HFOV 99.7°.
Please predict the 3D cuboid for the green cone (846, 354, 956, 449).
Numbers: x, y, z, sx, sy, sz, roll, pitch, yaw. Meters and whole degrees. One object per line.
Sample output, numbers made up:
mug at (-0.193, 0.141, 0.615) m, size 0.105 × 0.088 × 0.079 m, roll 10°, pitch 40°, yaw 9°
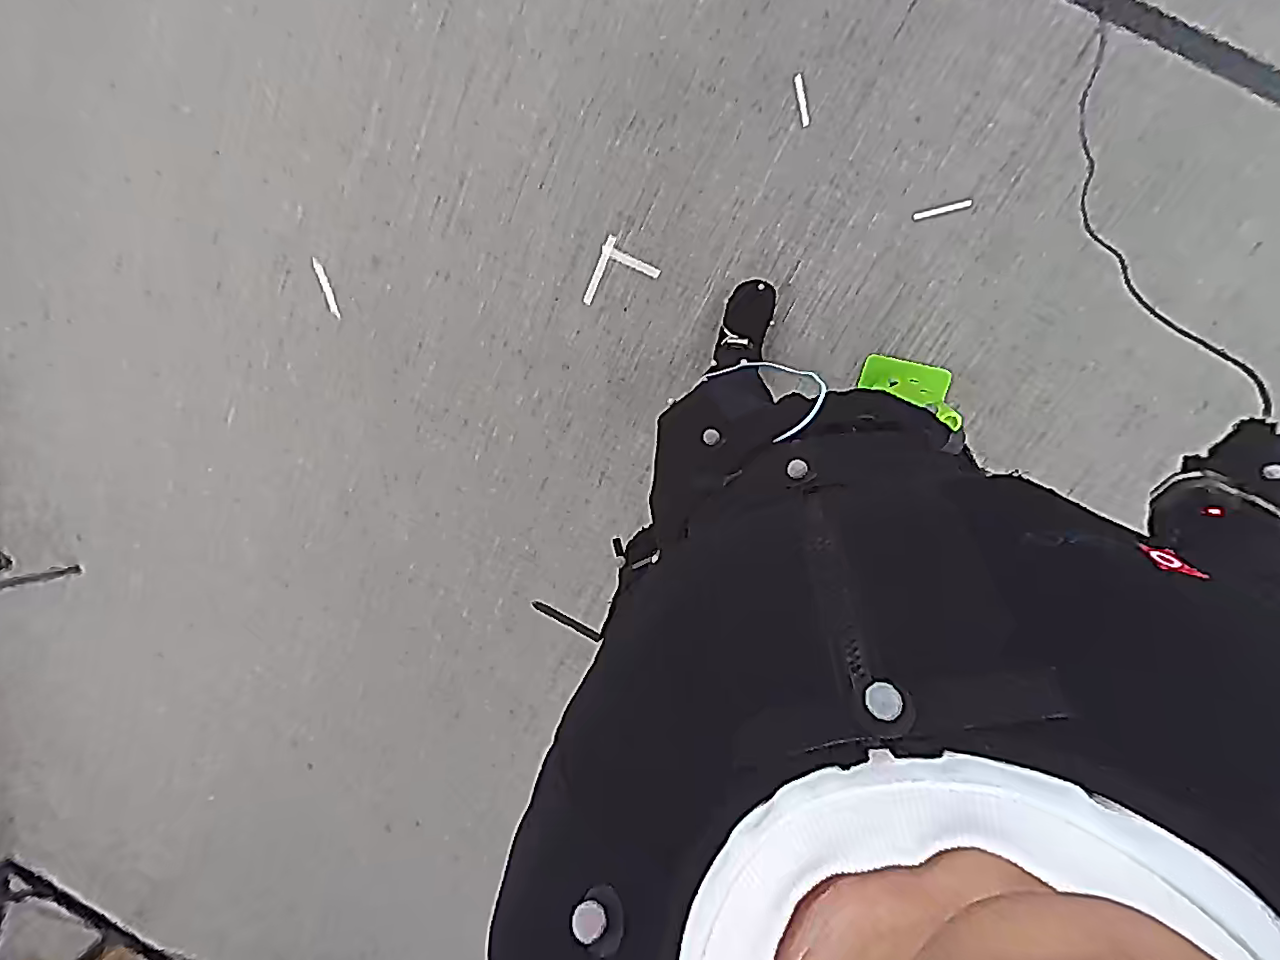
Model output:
green cone at (0.585, -0.151, 1.135) m, size 0.202 × 0.368 × 0.200 m, roll 14°, pitch 105°, yaw 8°
